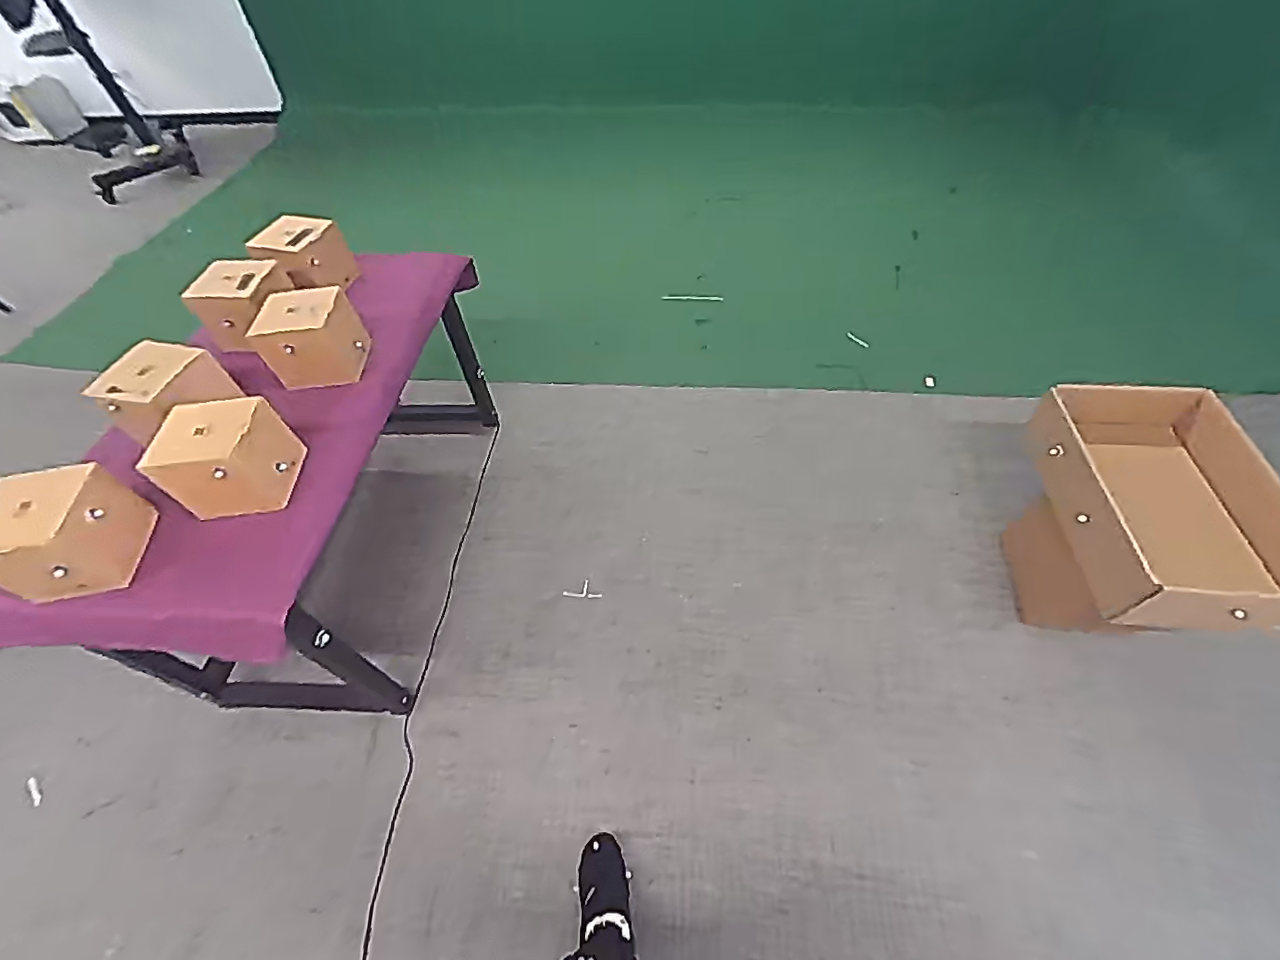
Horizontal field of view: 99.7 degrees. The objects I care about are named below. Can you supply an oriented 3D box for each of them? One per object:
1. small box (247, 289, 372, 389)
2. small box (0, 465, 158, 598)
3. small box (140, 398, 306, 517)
[{"bbox_3d":[-0.790,-0.338,1.313,0.179,0.176,0.168,-6,53,0],"label":"small box"},{"bbox_3d":[-1.048,0.101,0.991,0.168,0.176,0.179,-9,52,-6],"label":"small box"},{"bbox_3d":[-0.821,-0.041,1.087,0.179,0.176,0.168,-7,52,-1],"label":"small box"}]
